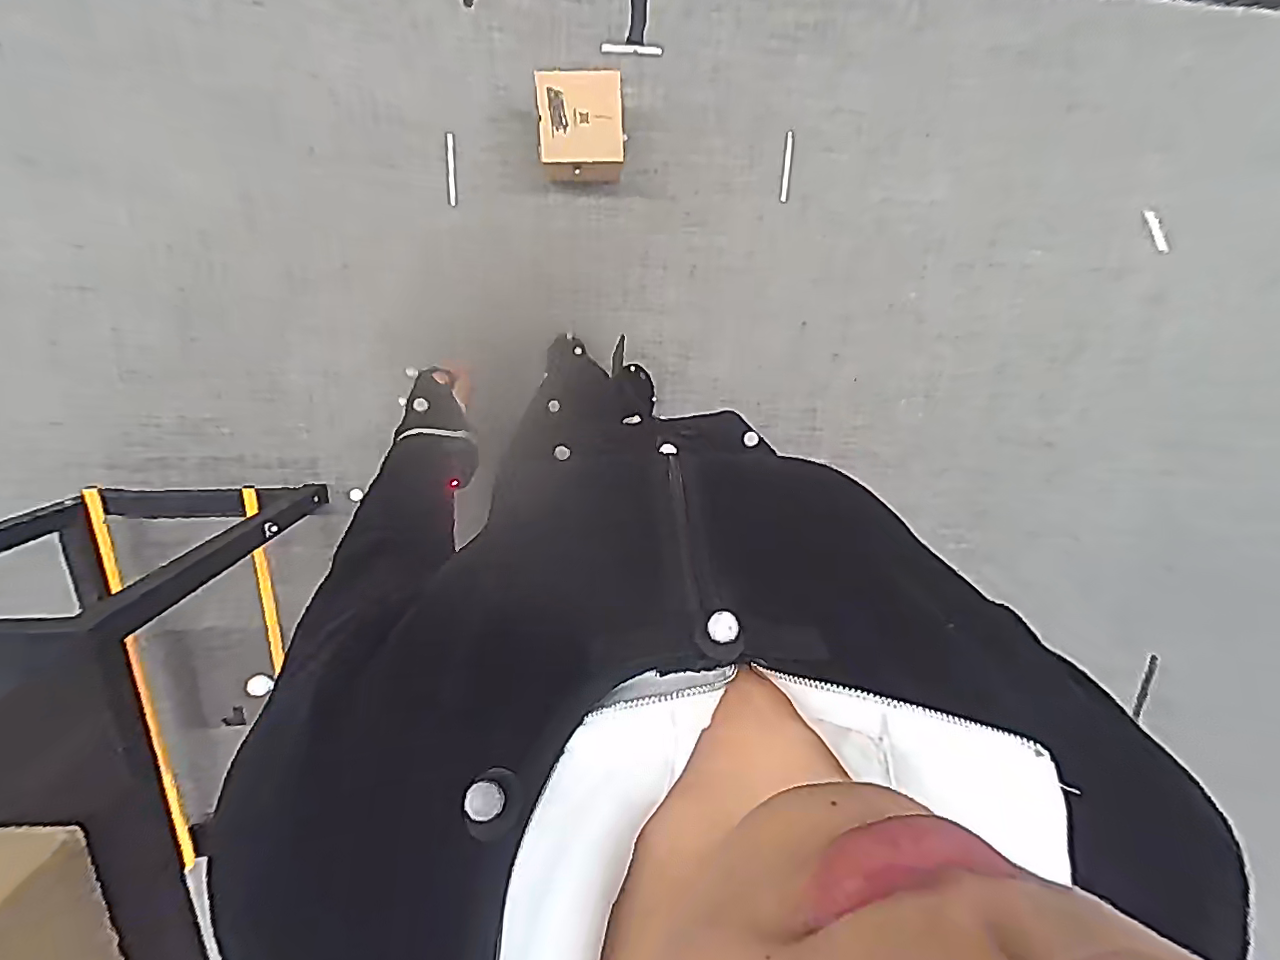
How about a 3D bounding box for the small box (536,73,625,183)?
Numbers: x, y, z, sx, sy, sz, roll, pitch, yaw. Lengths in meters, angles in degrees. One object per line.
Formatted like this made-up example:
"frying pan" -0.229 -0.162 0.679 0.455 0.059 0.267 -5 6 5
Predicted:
"small box" -0.125 -0.761 1.184 0.179 0.176 0.168 -3 107 -4
